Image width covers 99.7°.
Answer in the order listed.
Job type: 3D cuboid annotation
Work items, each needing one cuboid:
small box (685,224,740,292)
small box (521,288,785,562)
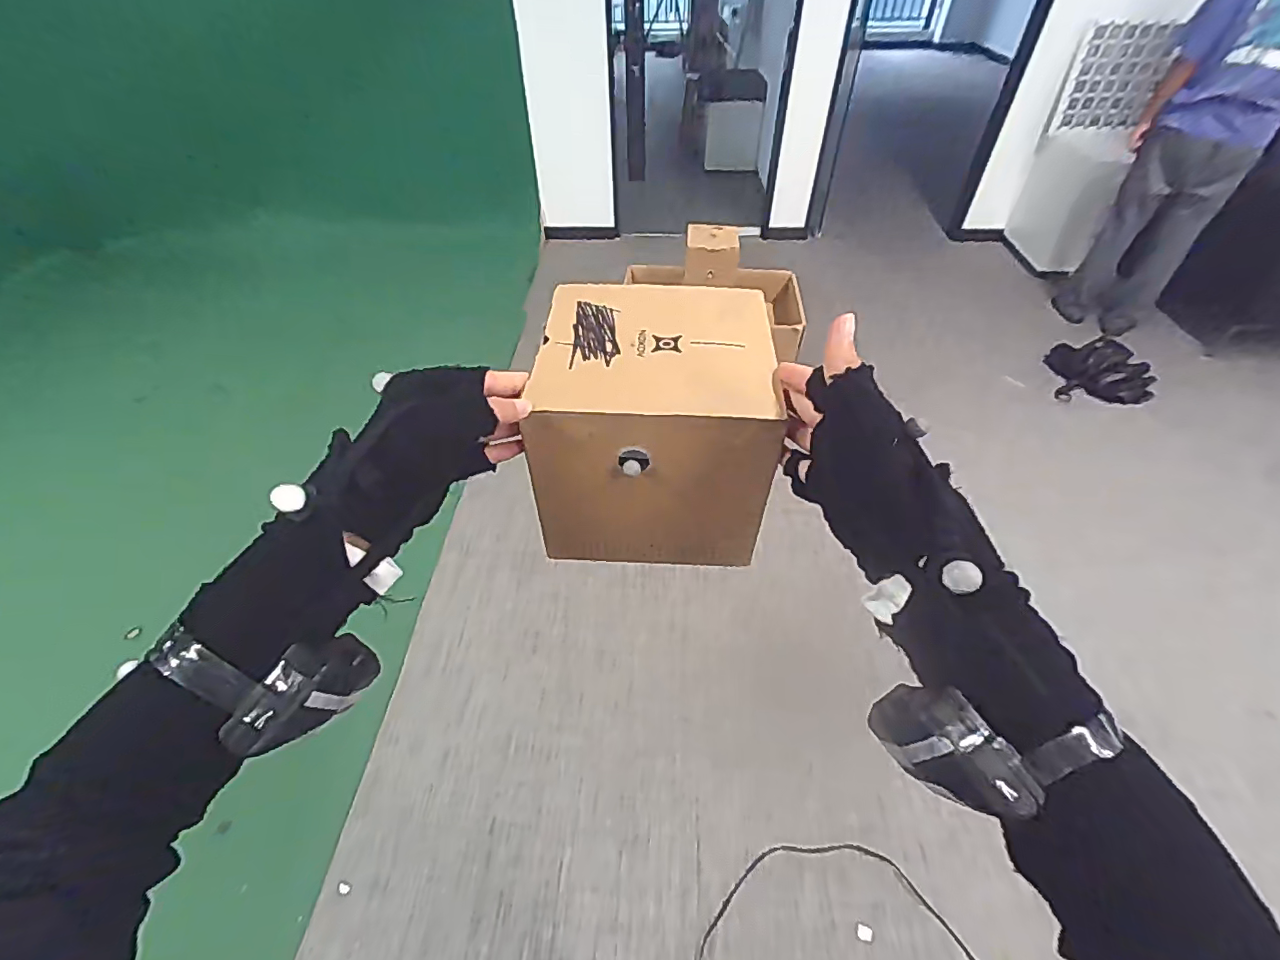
[{"bbox_3d":[0.240,-0.732,1.807,0.168,0.176,0.179,4,47,2],"label":"small box"},{"bbox_3d":[0.013,-0.045,0.461,0.179,0.176,0.168,2,48,2],"label":"small box"}]
